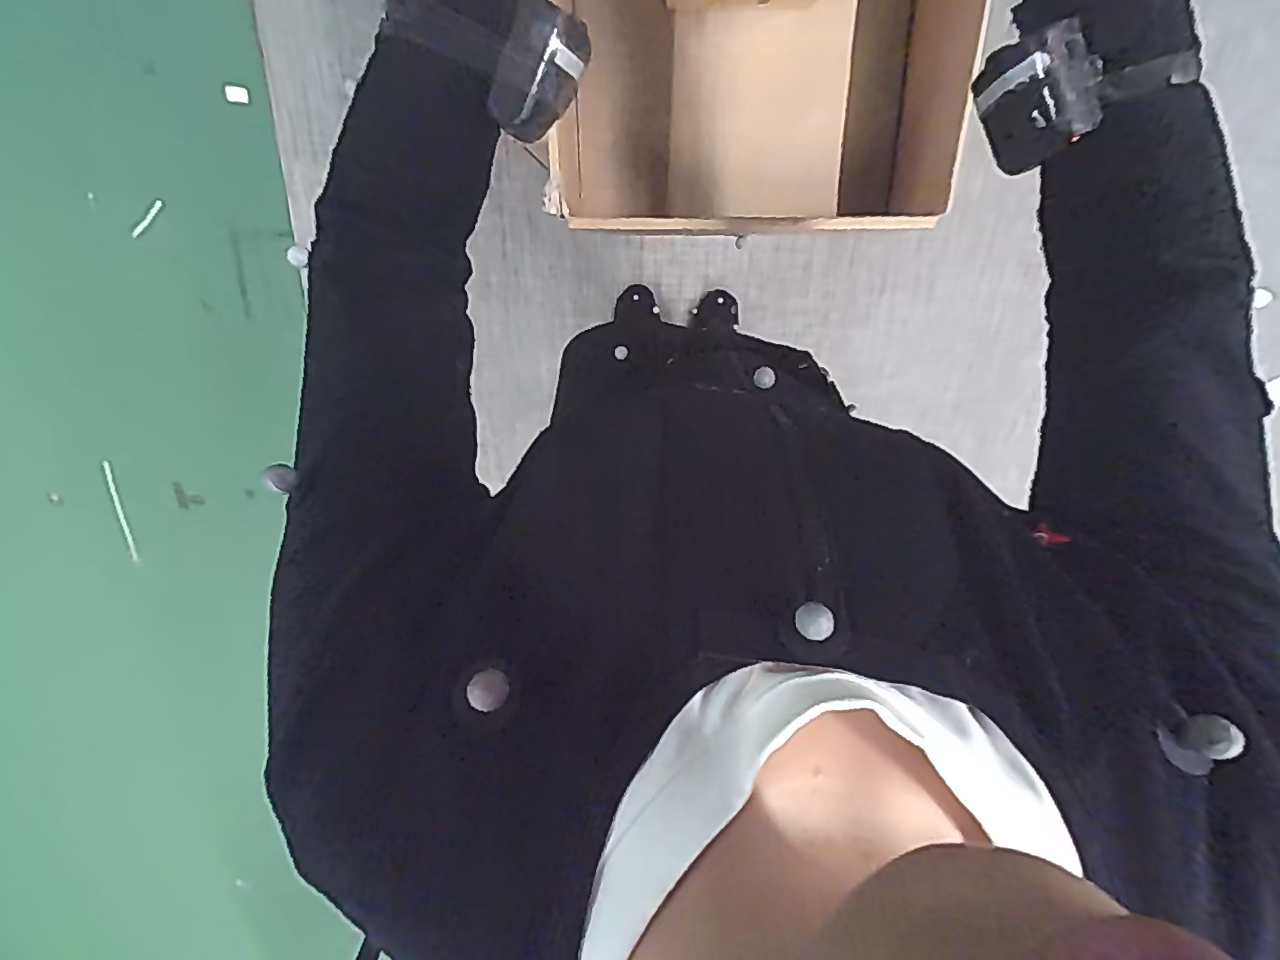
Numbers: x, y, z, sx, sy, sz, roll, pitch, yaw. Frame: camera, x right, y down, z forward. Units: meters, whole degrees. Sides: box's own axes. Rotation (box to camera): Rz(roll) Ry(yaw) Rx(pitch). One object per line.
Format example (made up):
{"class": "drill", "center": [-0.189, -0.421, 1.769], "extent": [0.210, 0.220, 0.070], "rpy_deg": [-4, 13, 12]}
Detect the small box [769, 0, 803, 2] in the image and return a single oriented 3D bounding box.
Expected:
{"class": "small box", "center": [0.107, -0.559, 0.475], "extent": [0.168, 0.176, 0.179], "rpy_deg": [-1, 112, -1]}
